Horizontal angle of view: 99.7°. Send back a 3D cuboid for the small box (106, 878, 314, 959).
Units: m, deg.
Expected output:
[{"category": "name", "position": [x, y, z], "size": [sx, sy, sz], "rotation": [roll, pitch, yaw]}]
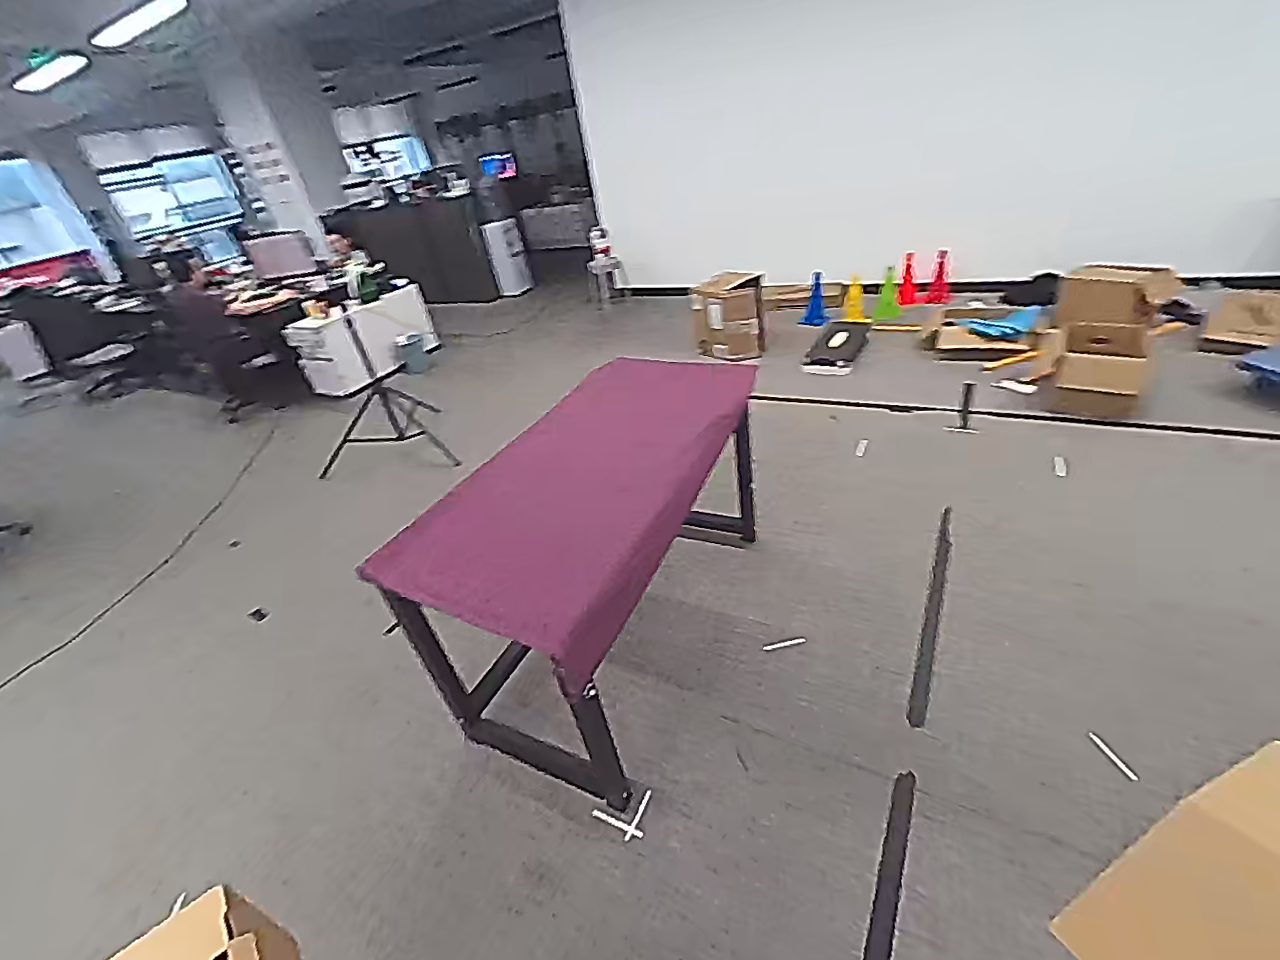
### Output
[{"category": "small box", "position": [-0.388, 0.502, 0.454], "size": [0.179, 0.176, 0.168], "rotation": [-27, 42, -31]}]
